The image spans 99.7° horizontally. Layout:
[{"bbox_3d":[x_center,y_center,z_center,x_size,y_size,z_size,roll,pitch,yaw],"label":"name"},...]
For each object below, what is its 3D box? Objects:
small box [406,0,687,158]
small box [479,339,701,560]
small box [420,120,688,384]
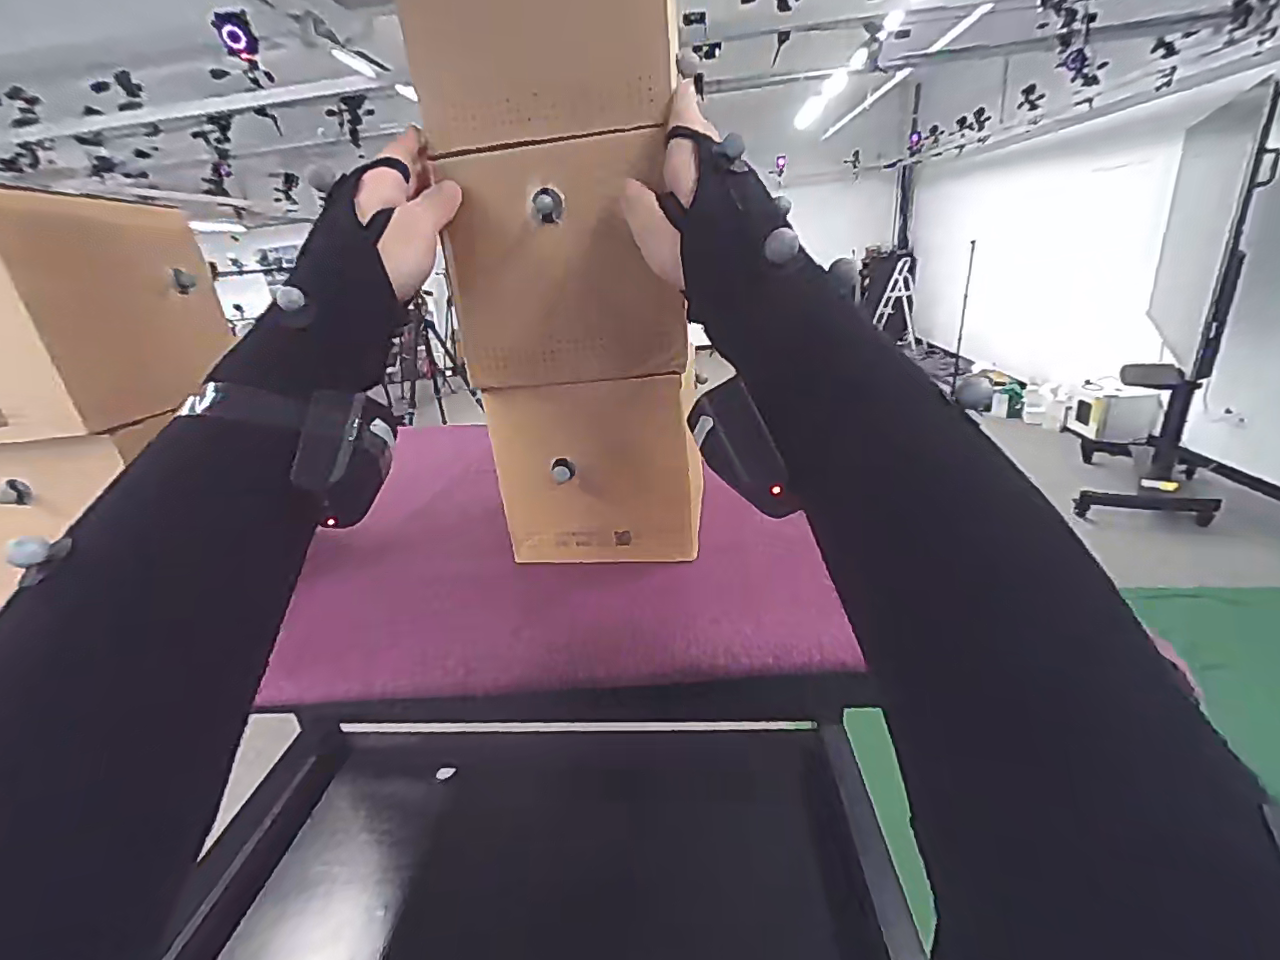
[{"bbox_3d":[-0.061,-0.336,0.405,0.179,0.176,0.168,-2,22,8],"label":"small box"},{"bbox_3d":[-0.030,-0.033,0.524,0.168,0.176,0.179,-2,22,10],"label":"small box"},{"bbox_3d":[-0.051,-0.178,0.456,0.179,0.176,0.168,0,22,7],"label":"small box"}]
